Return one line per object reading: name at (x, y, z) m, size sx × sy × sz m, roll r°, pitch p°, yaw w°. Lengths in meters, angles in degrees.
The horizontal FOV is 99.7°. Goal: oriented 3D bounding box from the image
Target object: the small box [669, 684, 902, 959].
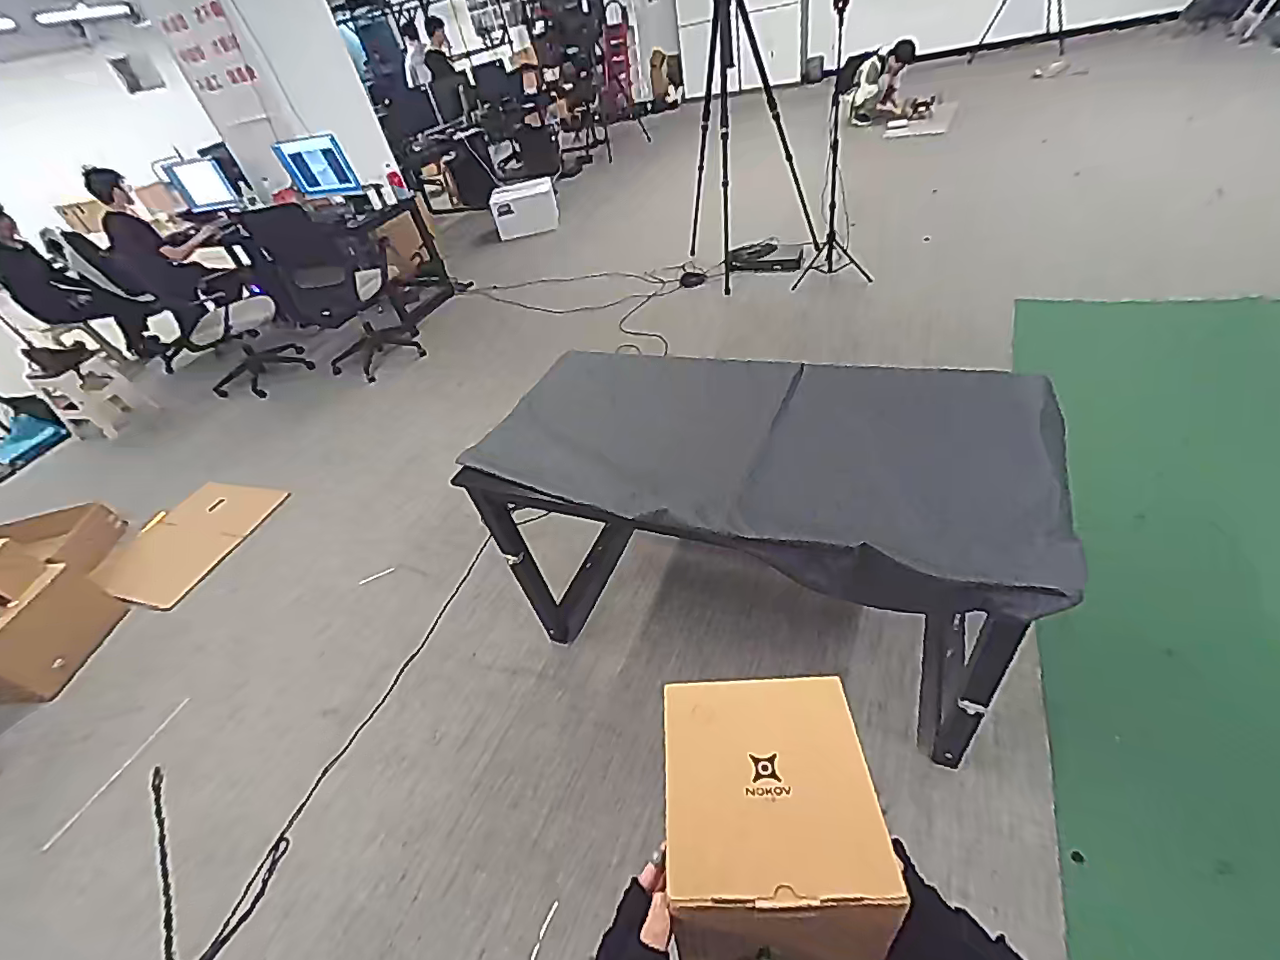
small box at (0.112, 0.314, 0.496) m, size 0.168 × 0.176 × 0.179 m, roll -4°, pitch 36°, yaw 5°
